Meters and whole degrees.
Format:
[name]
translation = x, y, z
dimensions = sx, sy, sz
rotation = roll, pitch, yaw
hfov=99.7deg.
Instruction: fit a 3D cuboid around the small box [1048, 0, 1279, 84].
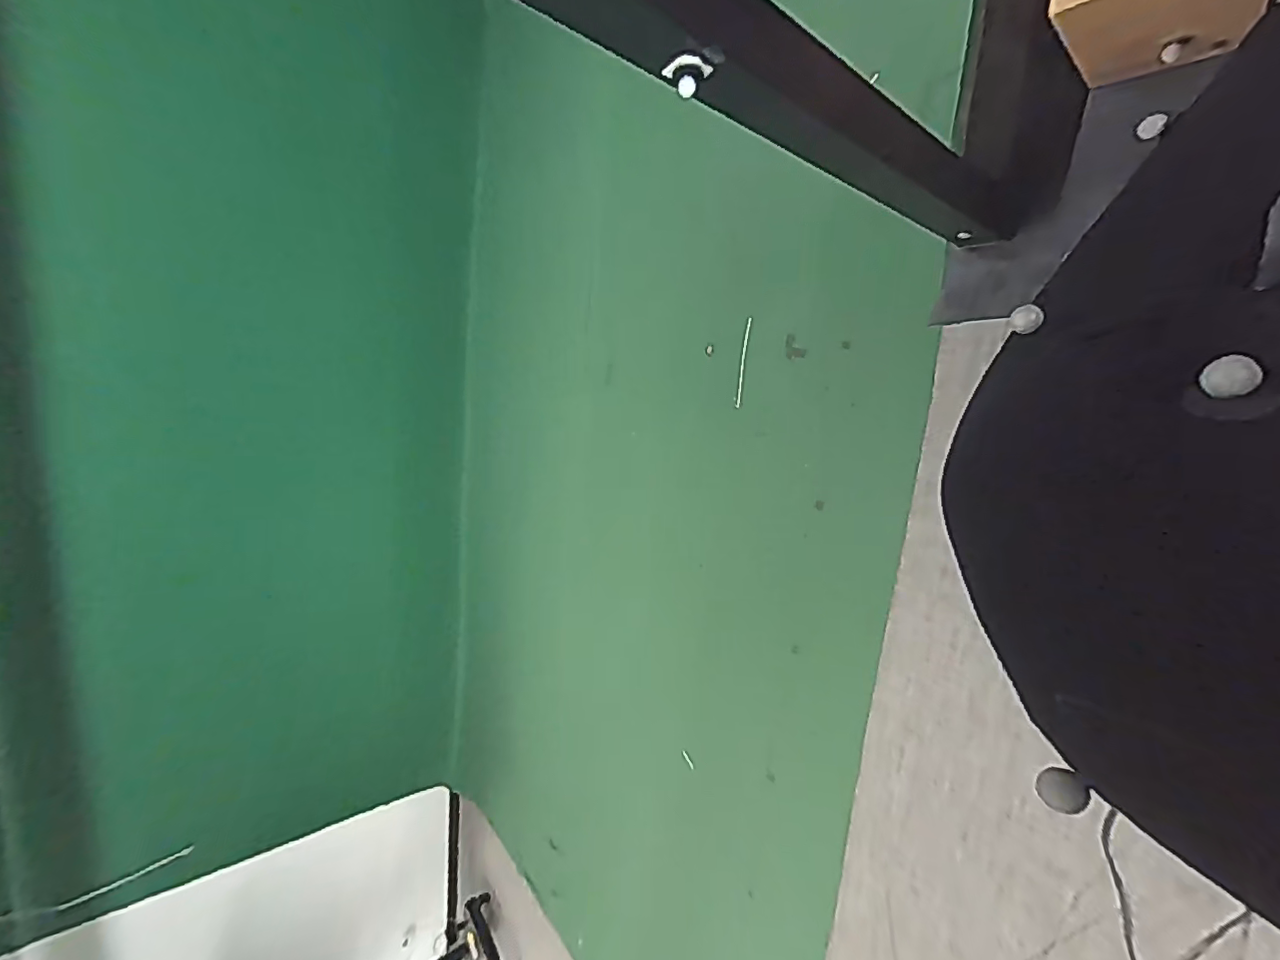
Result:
[small box]
translation = 0.500, -0.503, 0.478
dimensions = 0.168, 0.176, 0.179
rotation = 18, 107, 49
